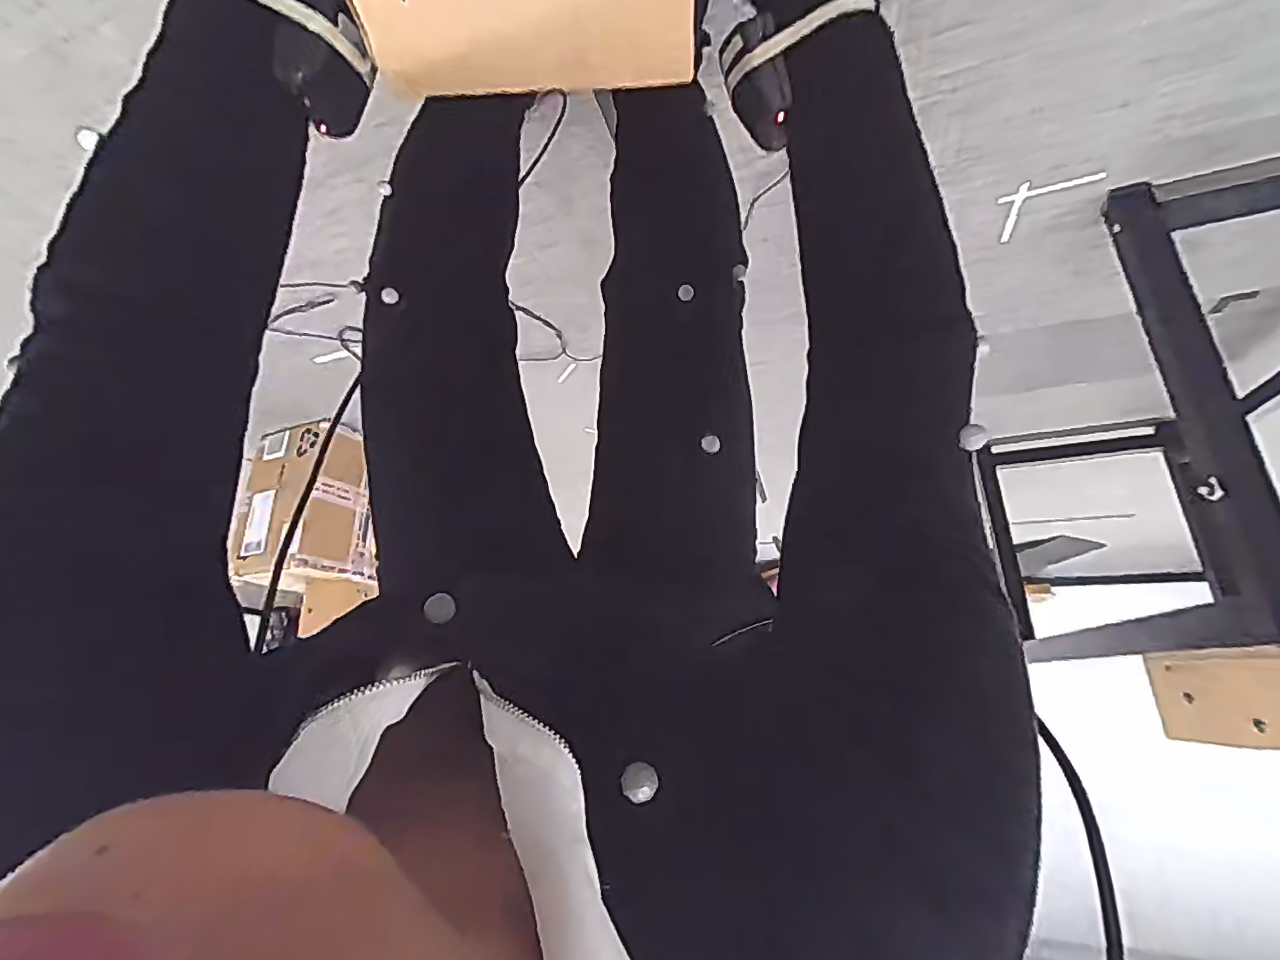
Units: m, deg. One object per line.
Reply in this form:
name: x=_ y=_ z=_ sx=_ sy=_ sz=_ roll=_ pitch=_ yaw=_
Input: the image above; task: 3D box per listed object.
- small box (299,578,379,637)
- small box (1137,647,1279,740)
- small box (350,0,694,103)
small box: x=-1.018 y=0.438 z=1.844 sx=0.179 sy=0.176 sz=0.168 roll=-11 pitch=159 yaw=17
small box: x=1.215 y=0.446 z=1.137 sx=0.179 sy=0.176 sz=0.168 roll=-1 pitch=160 yaw=1
small box: x=-0.059 y=-0.326 z=0.270 sx=0.179 sy=0.176 sz=0.168 roll=0 pitch=157 yaw=3
